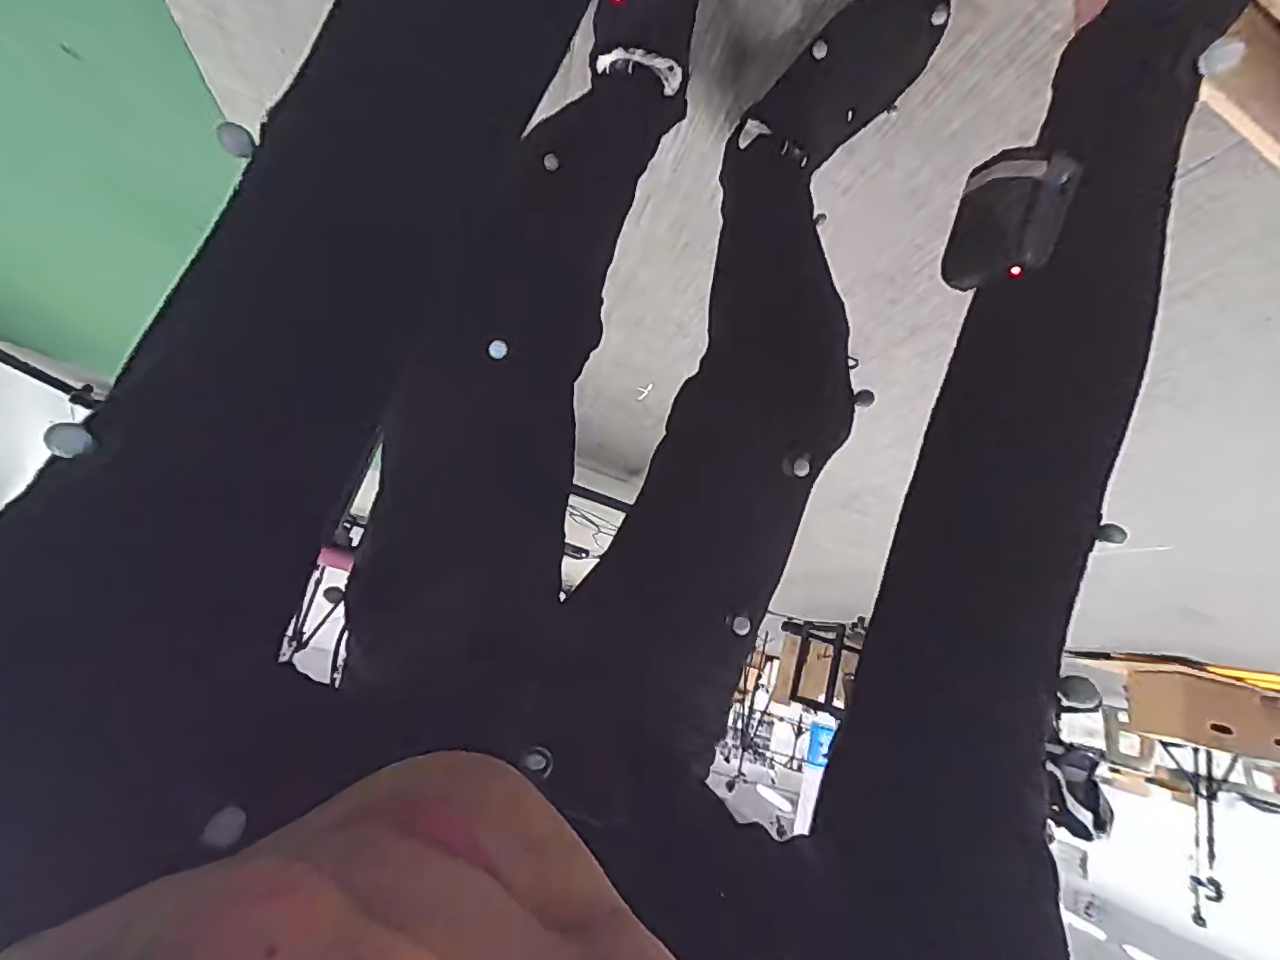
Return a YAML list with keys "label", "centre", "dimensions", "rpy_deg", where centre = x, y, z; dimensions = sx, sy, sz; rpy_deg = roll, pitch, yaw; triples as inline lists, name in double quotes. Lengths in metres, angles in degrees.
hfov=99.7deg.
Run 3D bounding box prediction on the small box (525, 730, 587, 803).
- label: "small box"
  centre: [-0.292, 0.986, 1.882]
  dimensions: [0.168, 0.176, 0.179]
  rpy_deg: [19, 164, -9]
